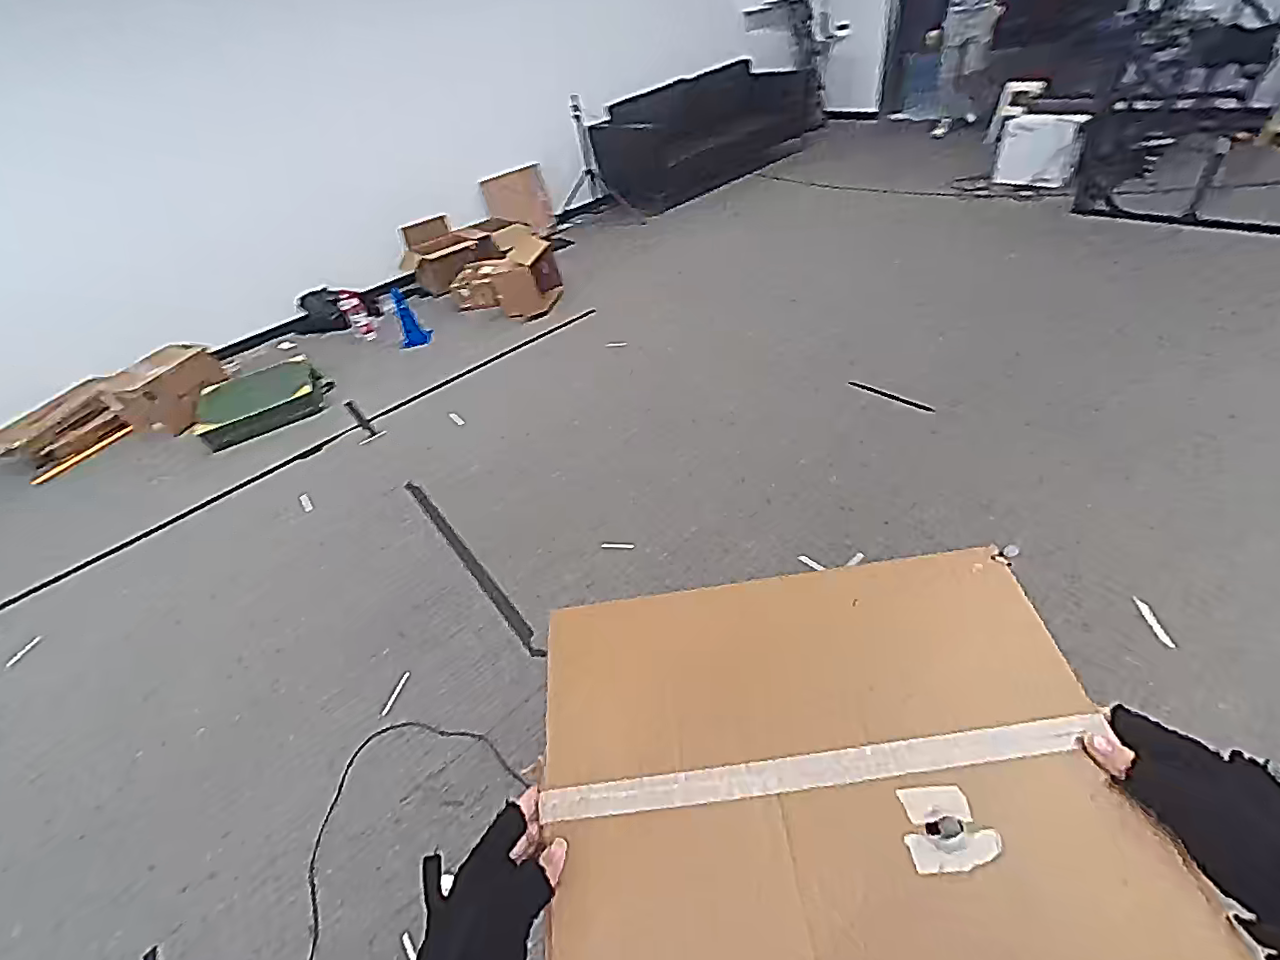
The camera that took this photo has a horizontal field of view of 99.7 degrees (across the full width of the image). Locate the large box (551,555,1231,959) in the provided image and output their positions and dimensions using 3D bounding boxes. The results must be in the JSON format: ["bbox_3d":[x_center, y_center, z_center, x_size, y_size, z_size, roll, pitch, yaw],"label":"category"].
[{"bbox_3d":[0.148,0.312,0.512,0.408,0.320,0.320,-10,50,1],"label":"large box"}]
